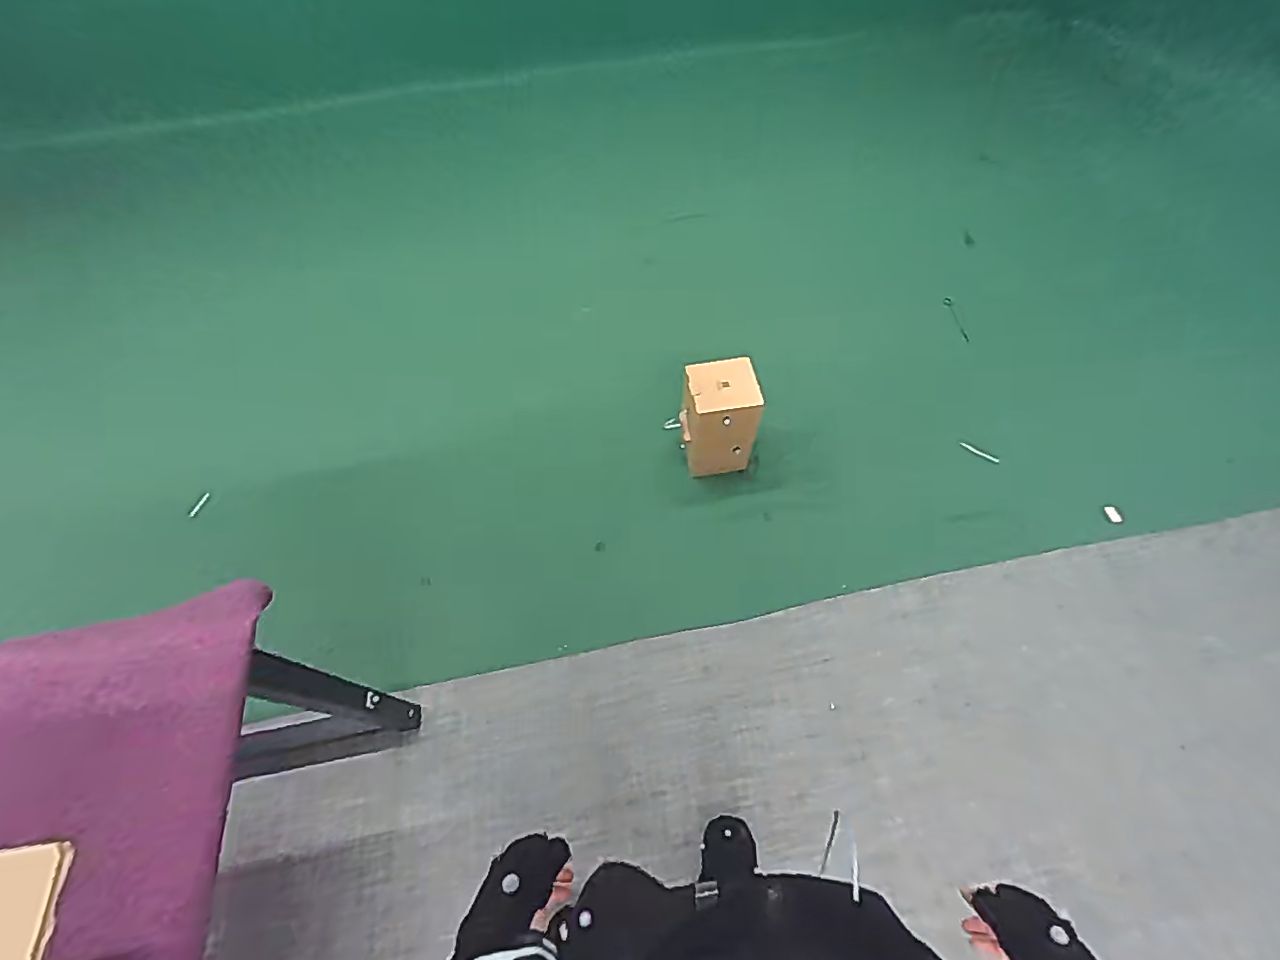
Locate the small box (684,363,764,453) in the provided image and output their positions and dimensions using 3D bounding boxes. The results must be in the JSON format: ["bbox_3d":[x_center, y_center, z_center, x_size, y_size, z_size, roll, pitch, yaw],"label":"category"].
[{"bbox_3d":[0.221,-0.193,1.478,0.179,0.176,0.168,-9,60,-3],"label":"small box"}]

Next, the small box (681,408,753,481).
[{"bbox_3d":[0.224,-0.116,1.622,0.179,0.176,0.168,-9,59,-3],"label":"small box"}]
